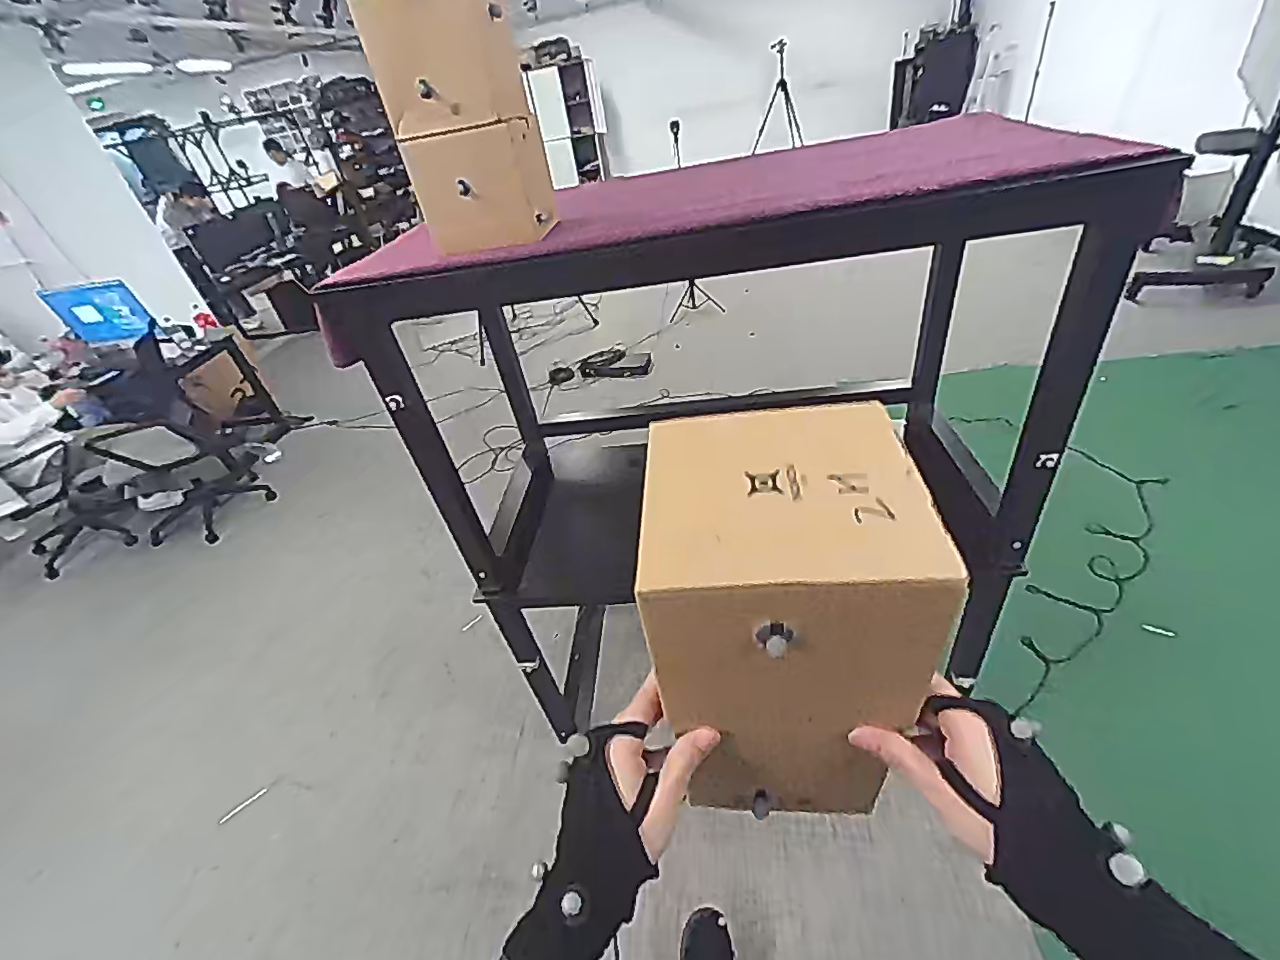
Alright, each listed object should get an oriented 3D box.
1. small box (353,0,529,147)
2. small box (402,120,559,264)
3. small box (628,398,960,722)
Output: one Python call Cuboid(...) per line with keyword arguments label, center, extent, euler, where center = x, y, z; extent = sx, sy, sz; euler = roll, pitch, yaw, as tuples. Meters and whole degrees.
Cuboid(label="small box", center=(-0.278, -0.608, 0.807), extent=(0.168, 0.176, 0.179), euler=(-4, 36, 10))
Cuboid(label="small box", center=(-0.247, -0.474, 0.893), extent=(0.179, 0.176, 0.168), euler=(-5, 36, 10))
Cuboid(label="small box", center=(0.097, 0.061, 0.395), extent=(0.179, 0.176, 0.168), euler=(-4, 41, 9))
